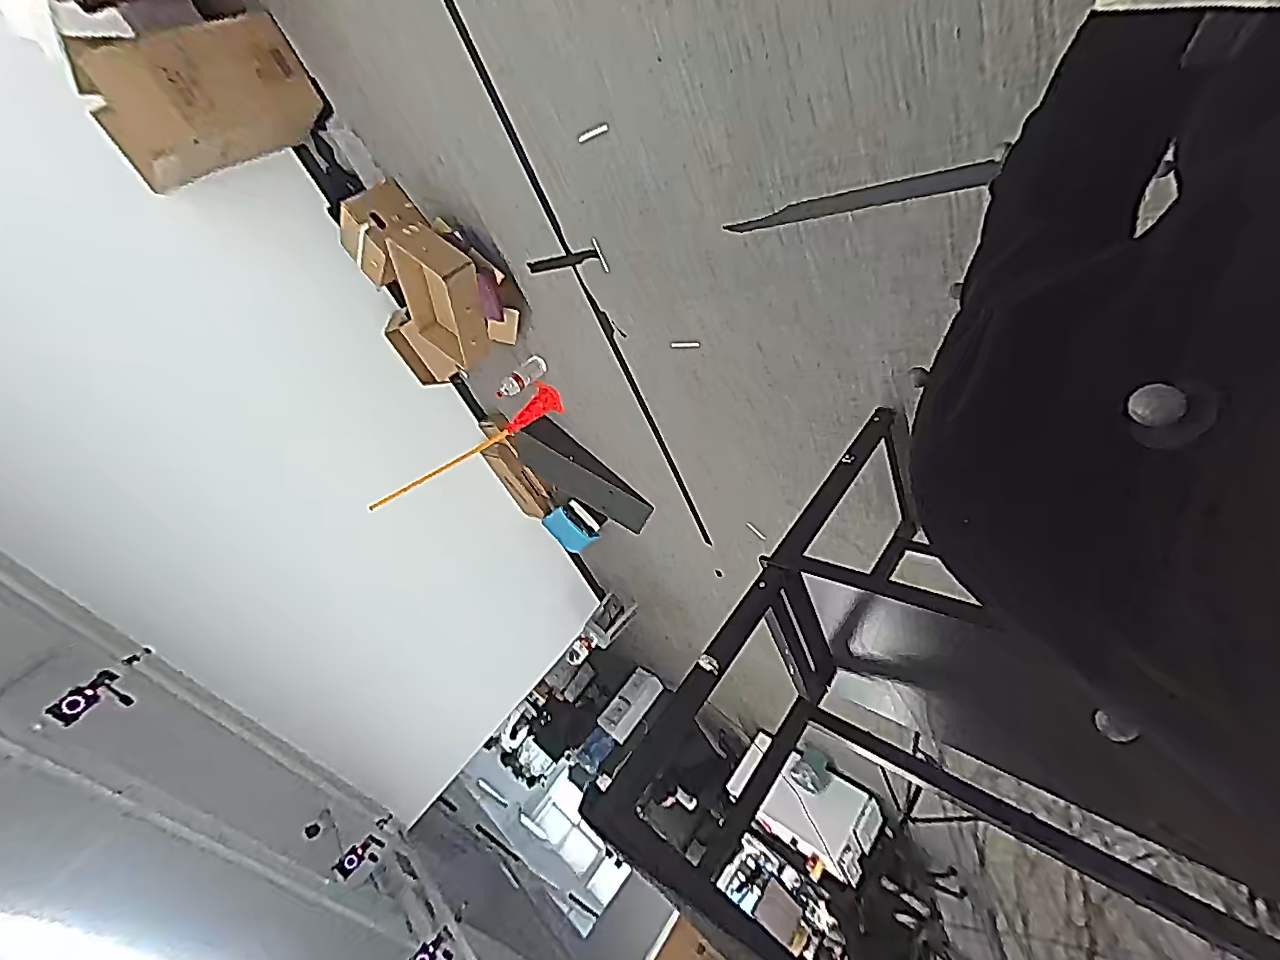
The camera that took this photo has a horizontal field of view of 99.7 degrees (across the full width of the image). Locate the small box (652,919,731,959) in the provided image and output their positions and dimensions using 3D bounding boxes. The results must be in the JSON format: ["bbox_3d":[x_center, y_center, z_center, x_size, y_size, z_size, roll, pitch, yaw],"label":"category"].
[{"bbox_3d":[0.100,0.894,0.914,0.168,0.176,0.179,17,144,42],"label":"small box"}]
